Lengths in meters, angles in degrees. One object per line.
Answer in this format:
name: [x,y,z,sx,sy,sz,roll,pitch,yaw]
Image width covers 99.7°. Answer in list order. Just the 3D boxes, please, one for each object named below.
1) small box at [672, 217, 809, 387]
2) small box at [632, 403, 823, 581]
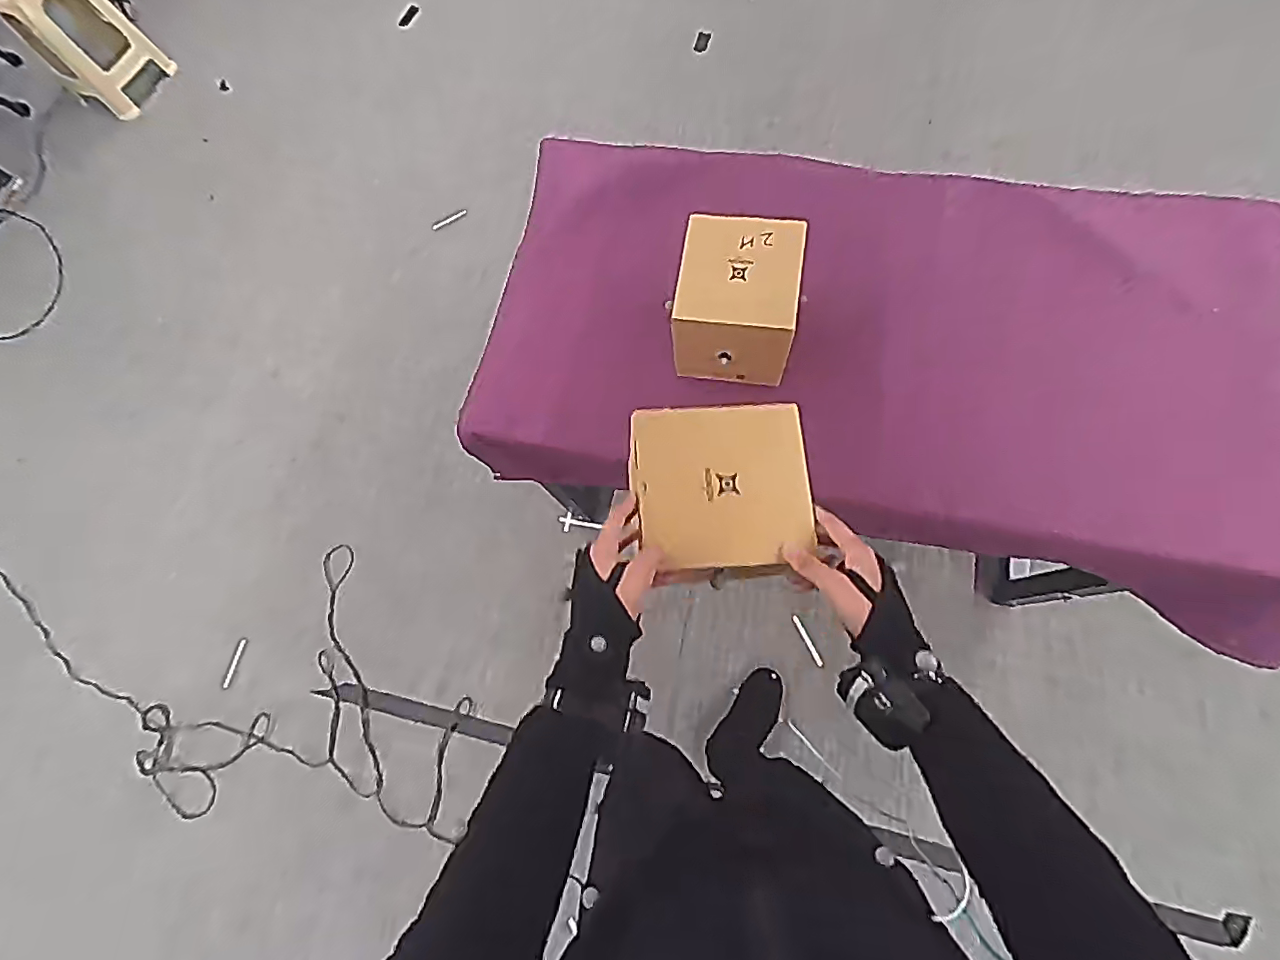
small box: [0.147,-0.257,0.808,0.168,0.176,0.179,9,74,9]
small box: [0.082,0.023,0.606,0.179,0.176,0.168,-3,75,-1]
